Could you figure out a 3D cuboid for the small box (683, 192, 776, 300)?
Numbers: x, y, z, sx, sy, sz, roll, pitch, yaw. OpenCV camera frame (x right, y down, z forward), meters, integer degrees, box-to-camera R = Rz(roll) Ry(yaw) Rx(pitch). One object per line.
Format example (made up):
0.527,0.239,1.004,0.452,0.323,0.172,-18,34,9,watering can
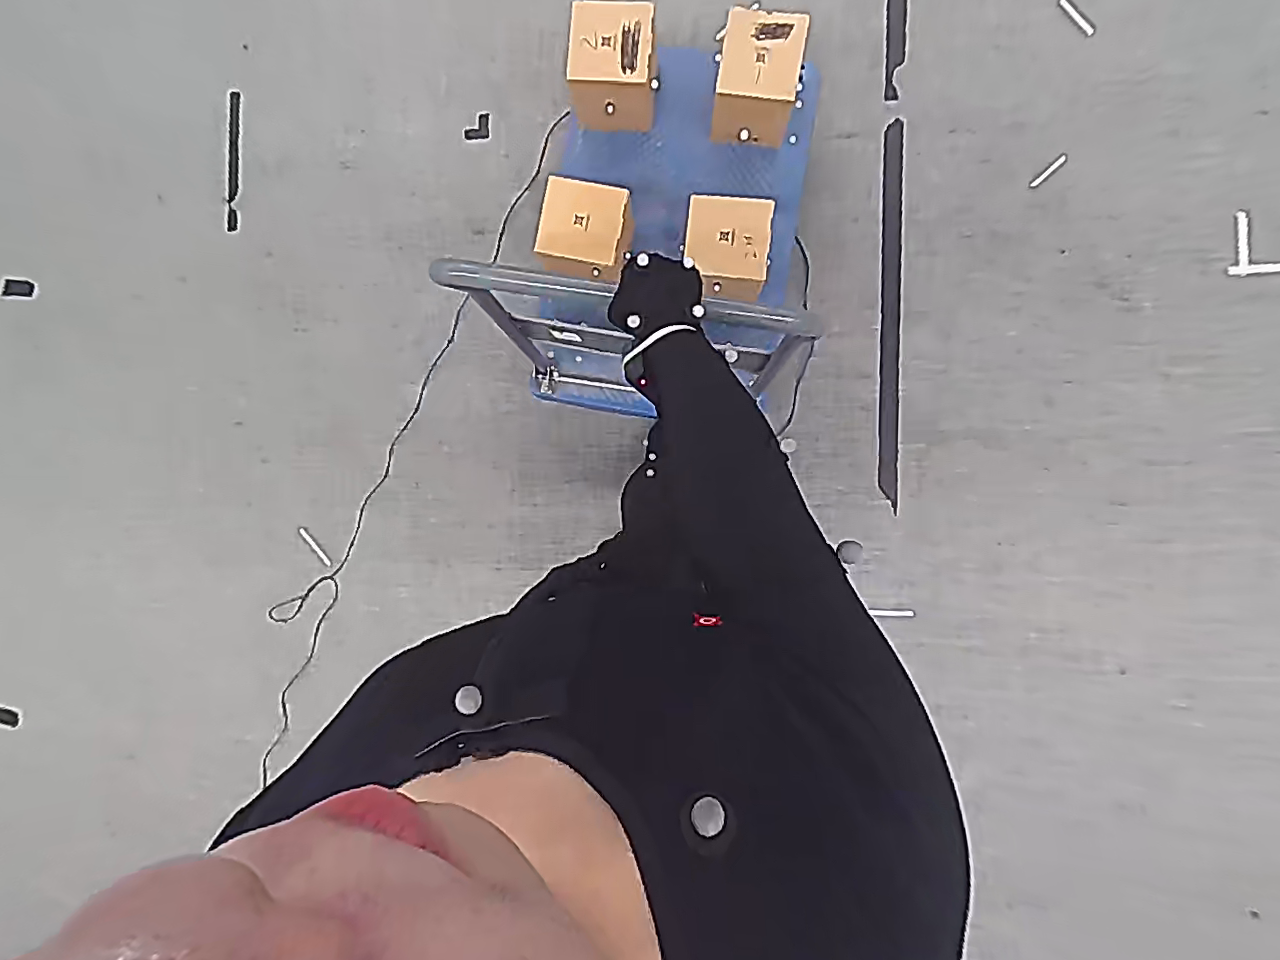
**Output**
0.191,-0.507,1.192,0.179,0.176,0.168,7,92,5,small box

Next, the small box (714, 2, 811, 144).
0.258,-0.876,1.178,0.168,0.176,0.179,10,93,4,small box

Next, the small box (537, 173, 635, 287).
-0.115,-0.552,1.216,0.179,0.176,0.168,11,92,2,small box
